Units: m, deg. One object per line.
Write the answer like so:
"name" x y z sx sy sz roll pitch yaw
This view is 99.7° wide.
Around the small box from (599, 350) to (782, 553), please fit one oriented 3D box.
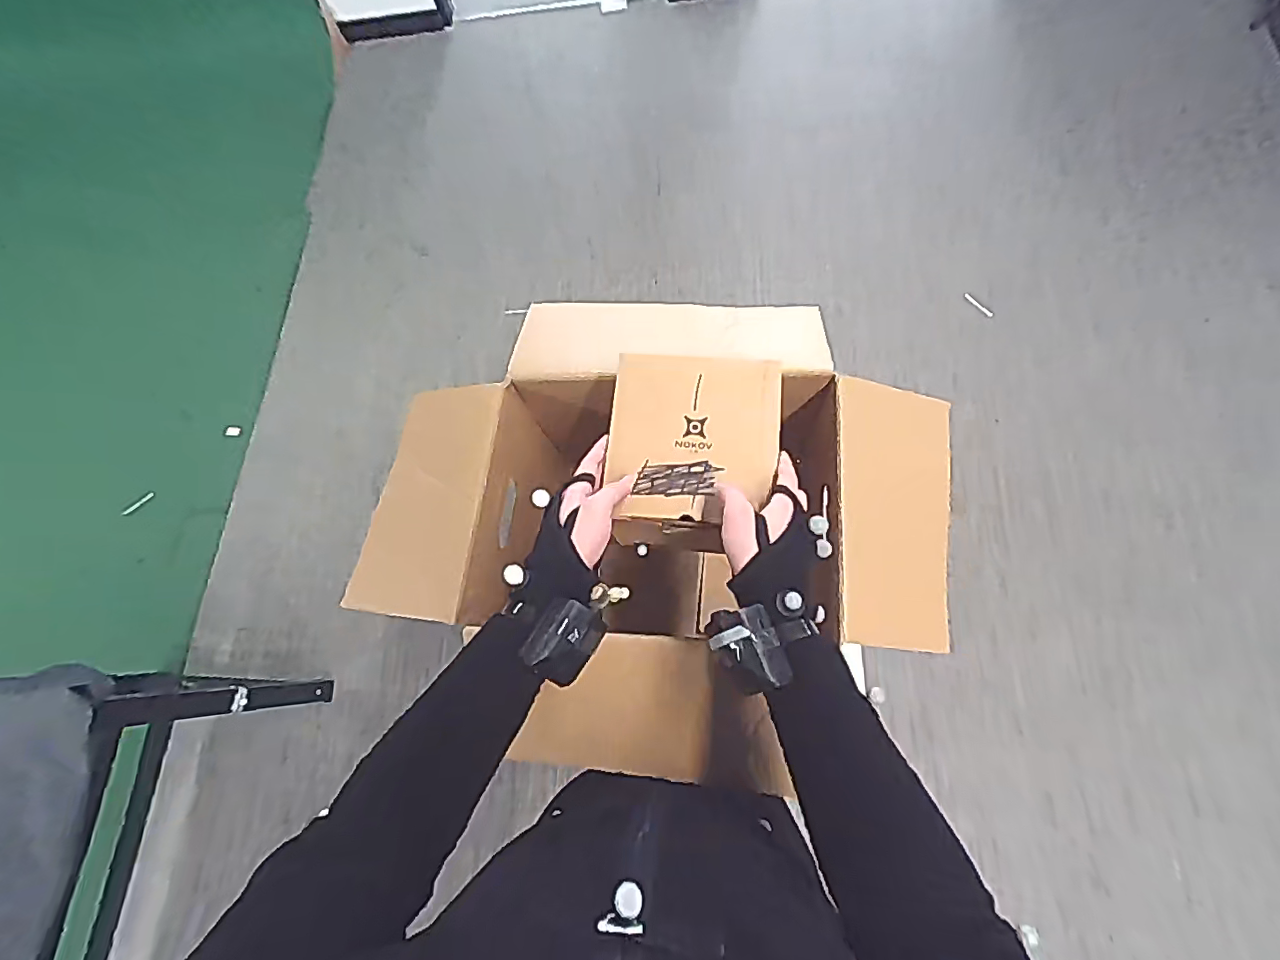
"small box" 0.057 -0.021 0.596 0.168 0.176 0.179 5 73 5
